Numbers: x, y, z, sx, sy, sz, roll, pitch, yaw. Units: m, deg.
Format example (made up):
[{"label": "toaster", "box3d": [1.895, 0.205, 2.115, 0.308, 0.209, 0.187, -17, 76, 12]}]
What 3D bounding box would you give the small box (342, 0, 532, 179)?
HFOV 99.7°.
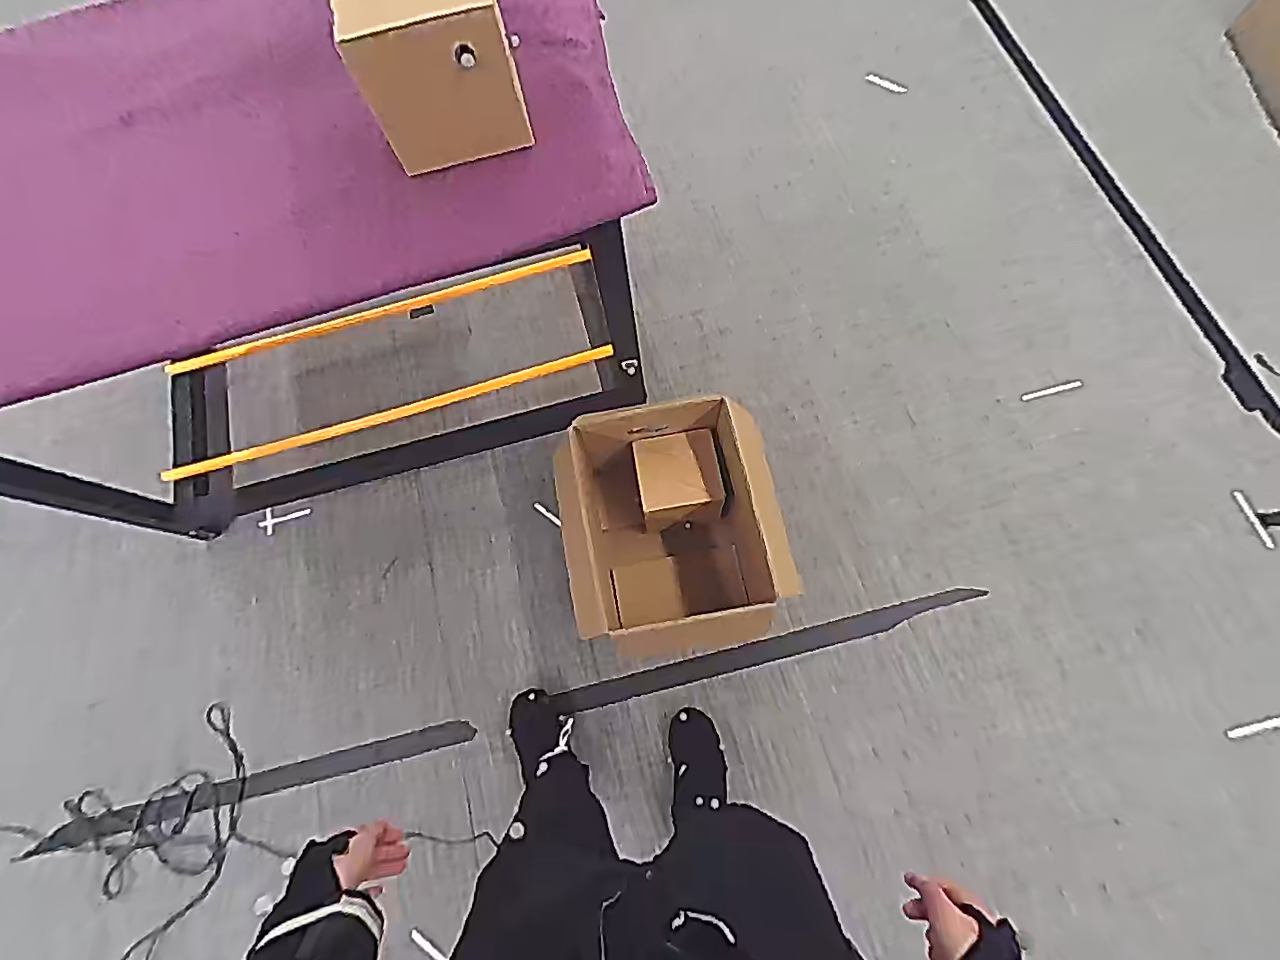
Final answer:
[{"label": "small box", "box3d": [-0.243, -0.521, 0.680, 0.179, 0.176, 0.168, -14, 70, -1]}]
